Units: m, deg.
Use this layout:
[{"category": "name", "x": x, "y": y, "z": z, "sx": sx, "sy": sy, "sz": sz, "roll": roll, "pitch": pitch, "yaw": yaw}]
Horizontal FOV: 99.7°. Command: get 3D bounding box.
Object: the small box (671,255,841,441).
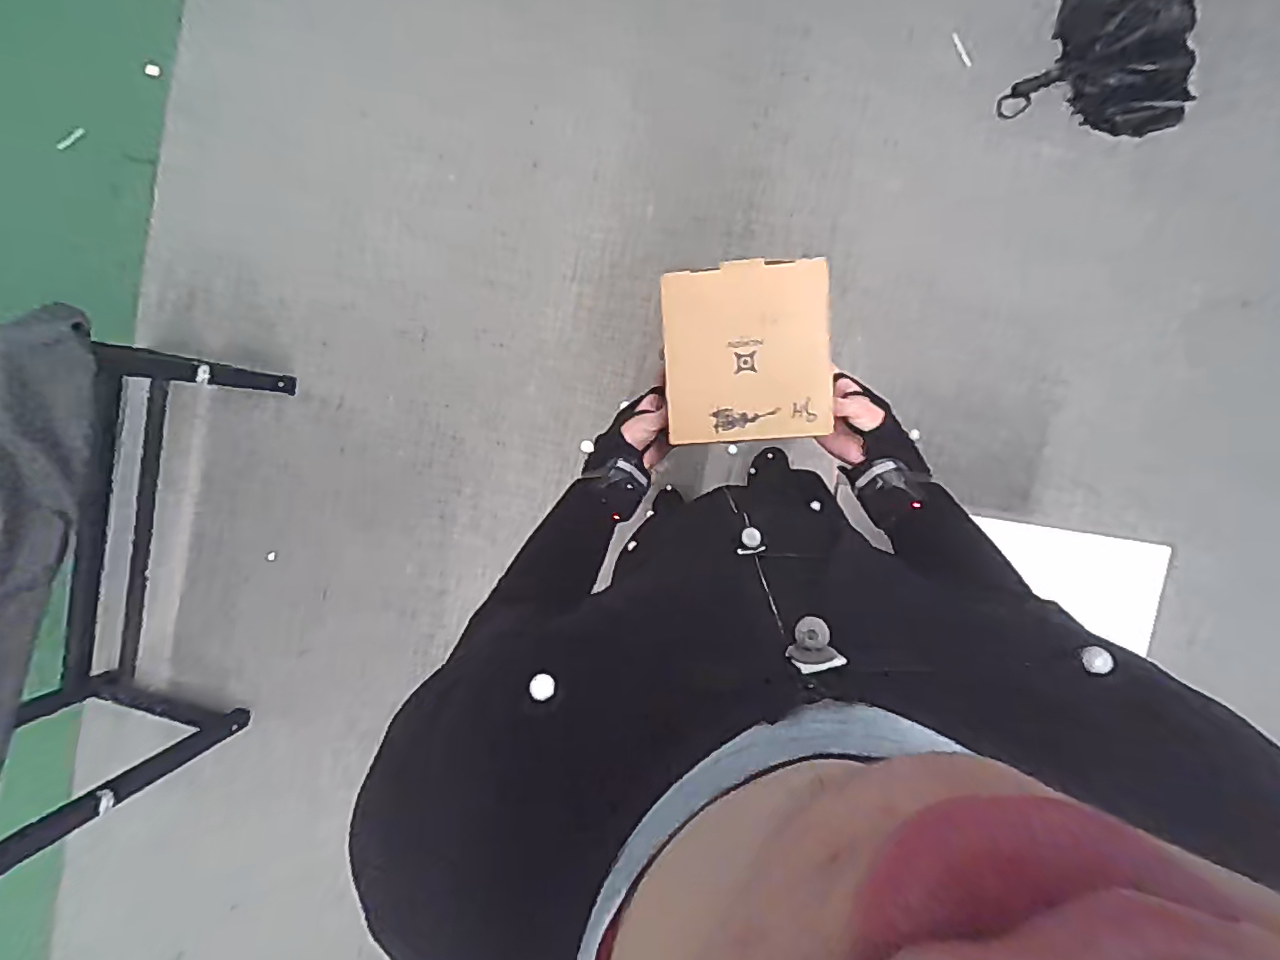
[{"category": "small box", "x": 0.124, "y": -0.135, "z": 0.619, "sx": 0.168, "sy": 0.176, "sz": 0.179, "roll": -3, "pitch": 95, "yaw": 8}]
